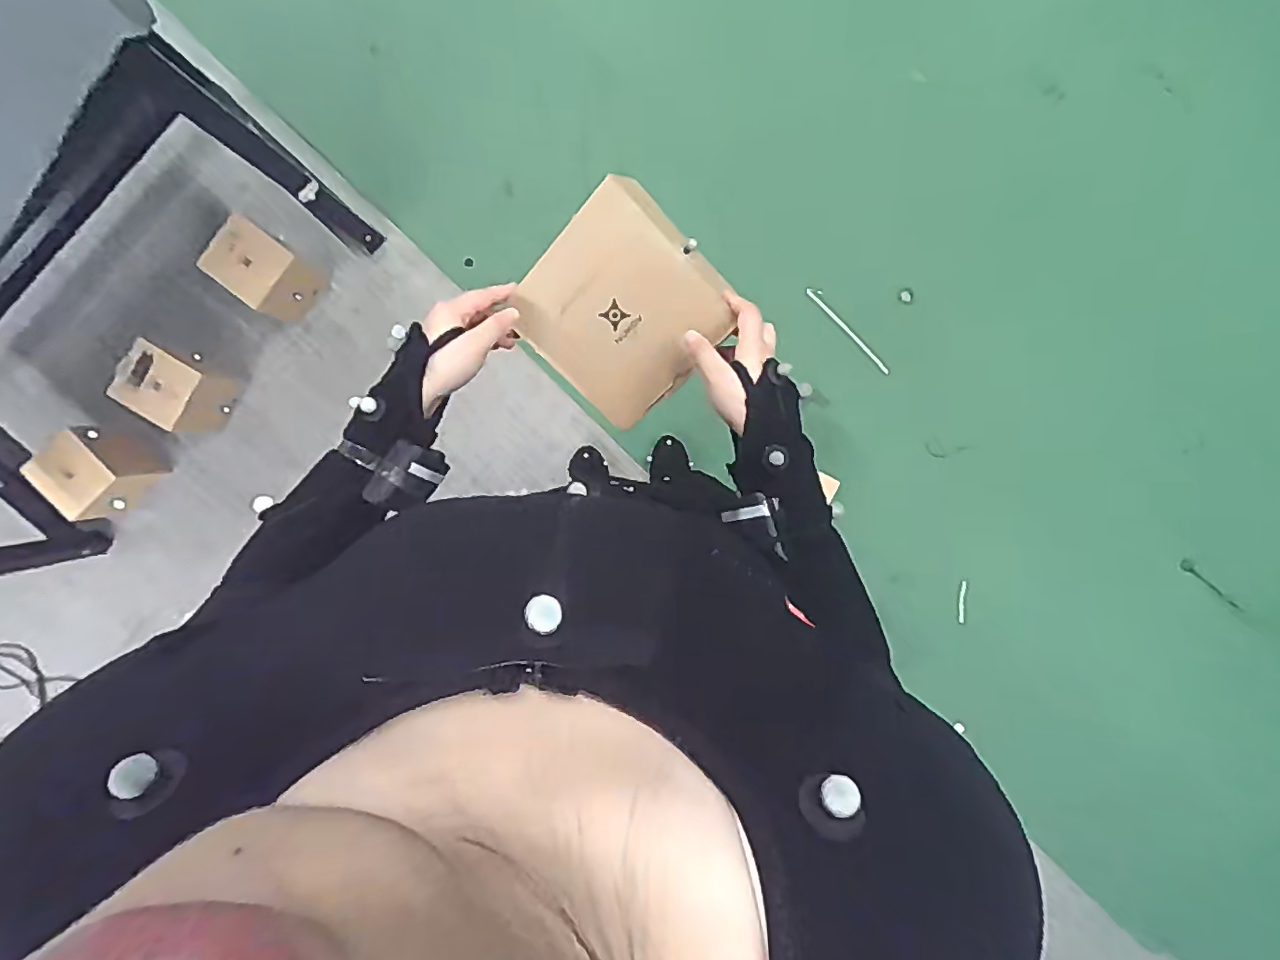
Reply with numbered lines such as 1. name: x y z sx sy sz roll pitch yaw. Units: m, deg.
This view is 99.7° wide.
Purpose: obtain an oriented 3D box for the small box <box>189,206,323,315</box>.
1. small box: -0.944 -0.533 1.348 0.179 0.176 0.168 39 92 -3

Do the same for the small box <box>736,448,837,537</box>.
1. small box: 0.372 0.029 1.410 0.179 0.176 0.168 28 94 -4

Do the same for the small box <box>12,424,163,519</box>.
1. small box: -1.398 -0.028 1.383 0.168 0.176 0.179 -42 93 3
